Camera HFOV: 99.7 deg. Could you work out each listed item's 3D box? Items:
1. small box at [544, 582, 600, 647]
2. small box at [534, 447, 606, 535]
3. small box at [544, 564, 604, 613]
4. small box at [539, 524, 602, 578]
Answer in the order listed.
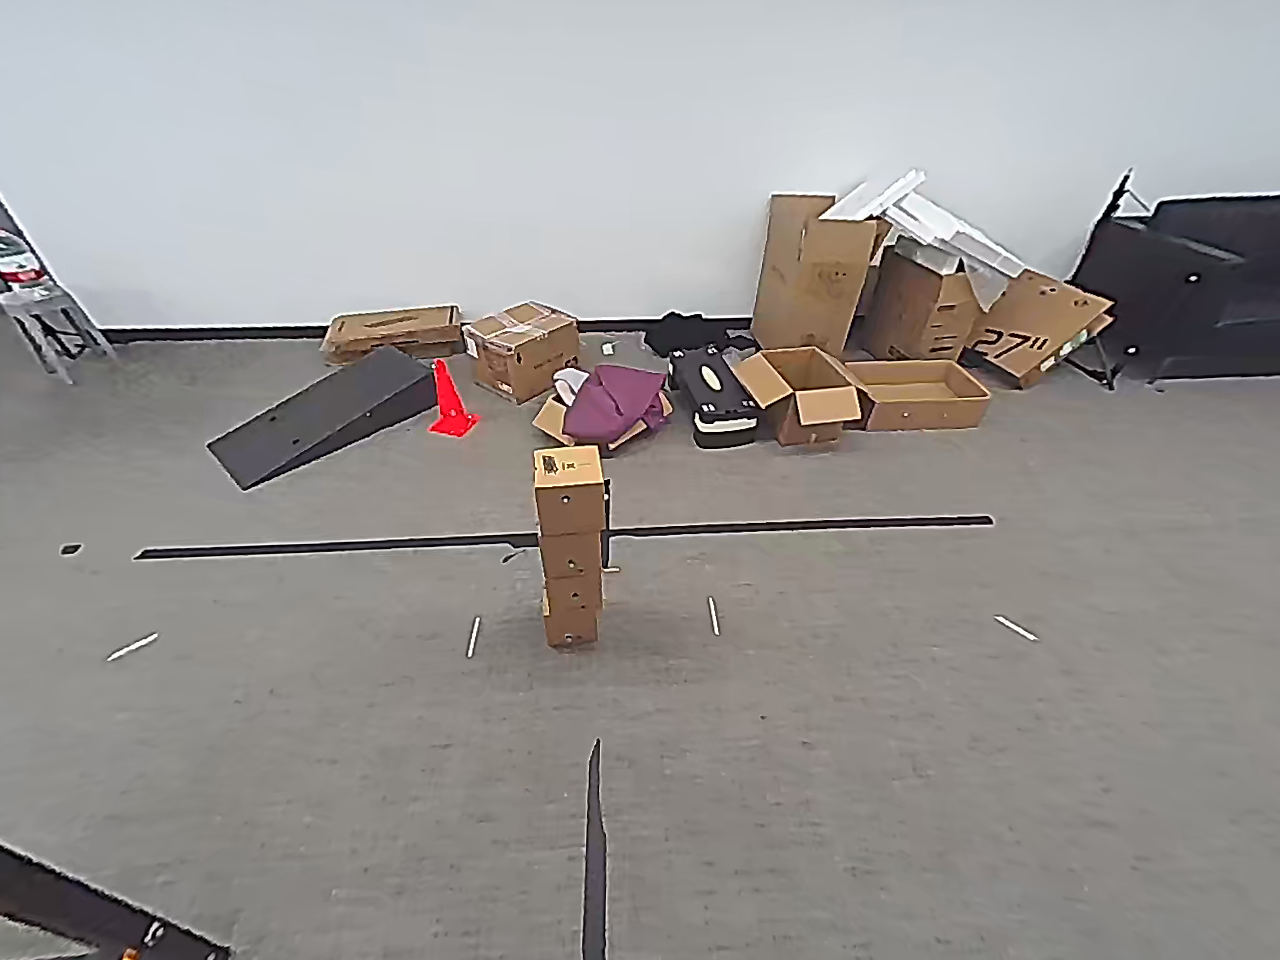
[{"bbox_3d":[-0.224,0.419,1.770,0.168,0.176,0.179,-7,41,-7],"label":"small box"},{"bbox_3d":[-0.188,0.032,1.463,0.179,0.176,0.168,-5,39,-7],"label":"small box"},{"bbox_3d":[-0.205,0.292,1.666,0.168,0.176,0.179,-7,40,-8],"label":"small box"},{"bbox_3d":[-0.197,0.160,1.565,0.168,0.176,0.179,-4,40,-4],"label":"small box"}]
